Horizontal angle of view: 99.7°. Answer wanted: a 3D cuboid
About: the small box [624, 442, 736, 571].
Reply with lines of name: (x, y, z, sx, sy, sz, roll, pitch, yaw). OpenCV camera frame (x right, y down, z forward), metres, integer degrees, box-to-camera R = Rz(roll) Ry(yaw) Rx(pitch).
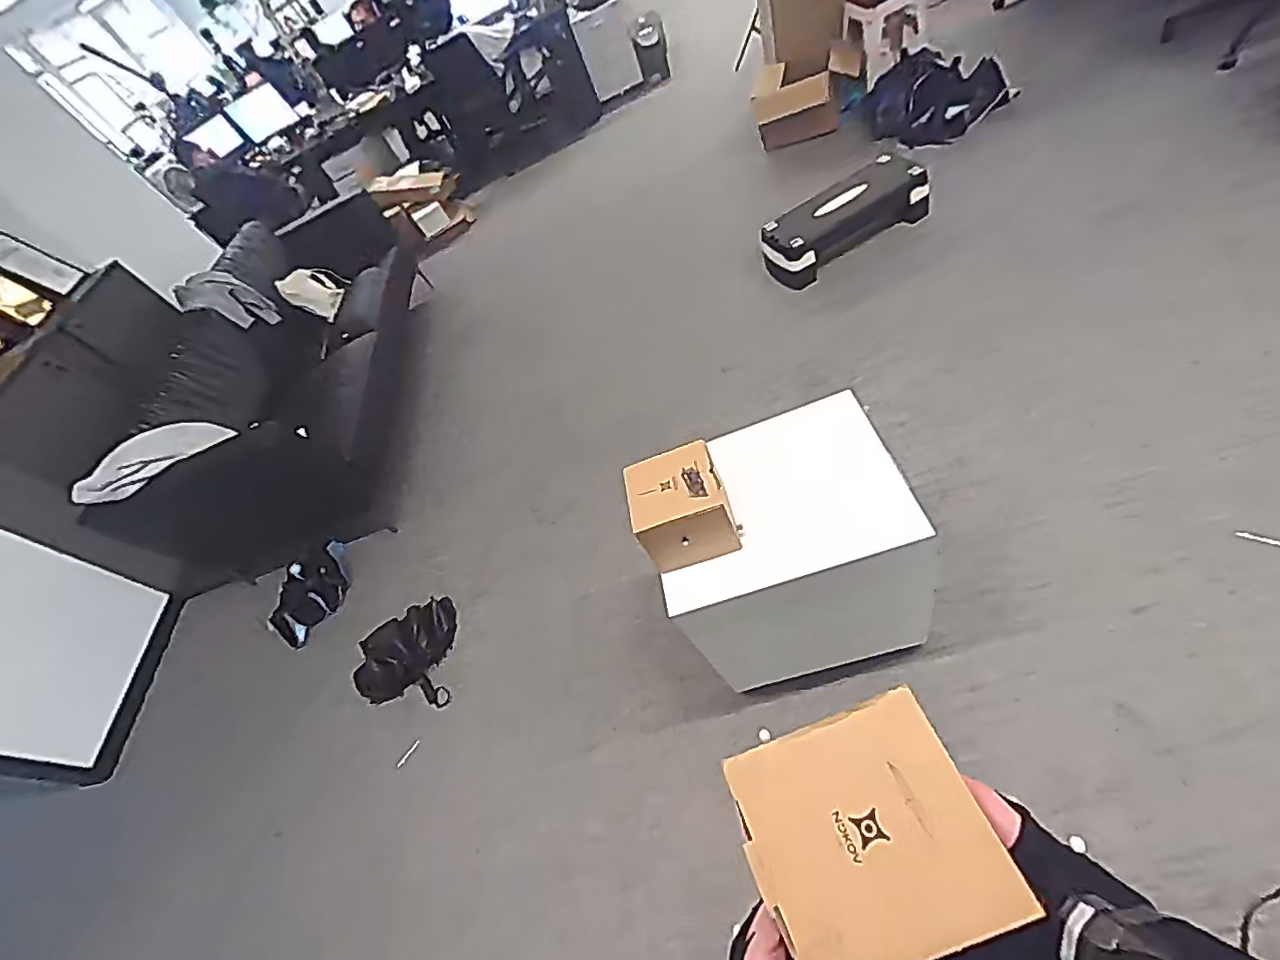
small box: (0.085, 0.058, 1.084, 0.179, 0.176, 0.168, -20, 49, 12)
